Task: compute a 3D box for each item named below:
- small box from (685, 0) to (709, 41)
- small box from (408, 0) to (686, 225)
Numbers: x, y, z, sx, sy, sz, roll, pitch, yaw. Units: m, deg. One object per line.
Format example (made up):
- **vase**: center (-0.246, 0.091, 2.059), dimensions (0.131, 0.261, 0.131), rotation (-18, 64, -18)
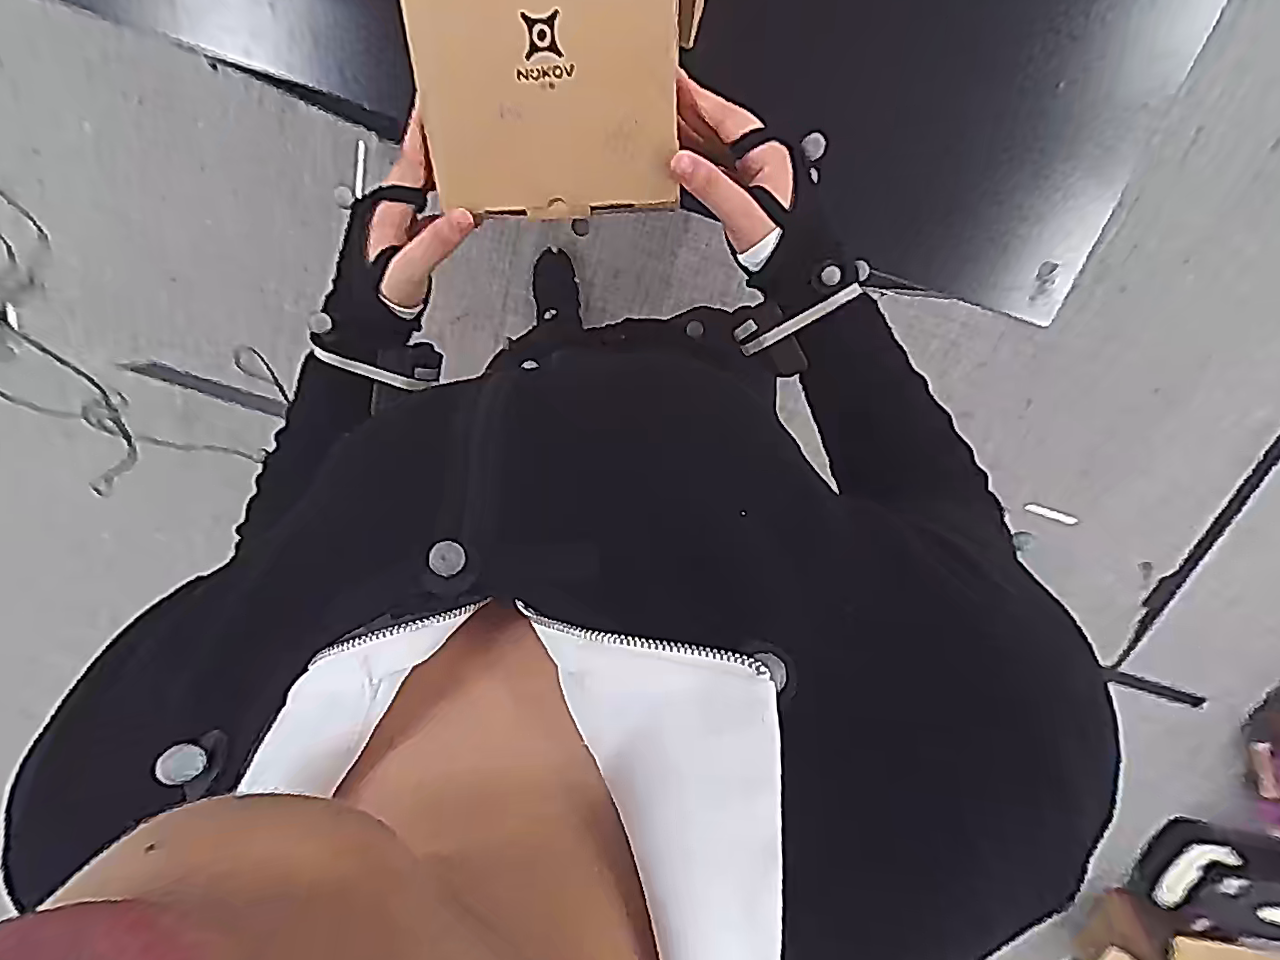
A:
- **small box**: center (-0.005, -0.521, 0.462), dimensions (0.179, 0.176, 0.168), rotation (17, 111, -4)
- **small box**: center (-0.050, -0.295, 0.404), dimensions (0.168, 0.176, 0.179), rotation (0, 117, 5)
